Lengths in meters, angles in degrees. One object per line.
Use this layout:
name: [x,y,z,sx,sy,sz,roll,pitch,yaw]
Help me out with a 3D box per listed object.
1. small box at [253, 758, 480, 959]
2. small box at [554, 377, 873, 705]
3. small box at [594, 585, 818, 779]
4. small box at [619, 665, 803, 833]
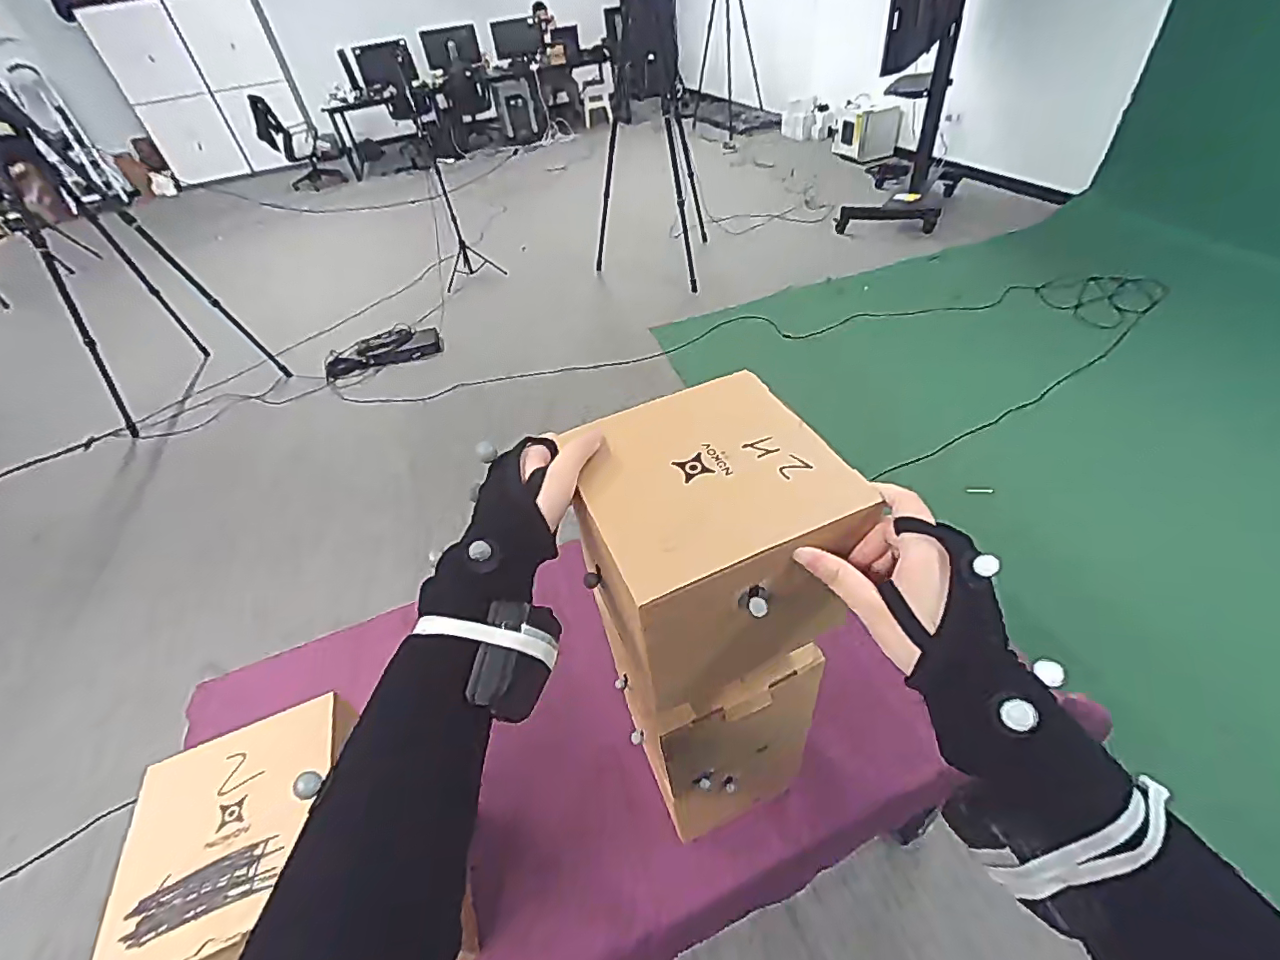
small box: [-0.297,0.460,0.614,0.168,0.176,0.179,-20,46,-10]
small box: [0.050,0.050,0.437,0.179,0.176,0.168,-20,48,-13]
small box: [0.067,0.193,0.584,0.168,0.176,0.179,-21,45,-12]
small box: [0.087,0.311,0.697,0.168,0.176,0.179,-22,44,-10]
